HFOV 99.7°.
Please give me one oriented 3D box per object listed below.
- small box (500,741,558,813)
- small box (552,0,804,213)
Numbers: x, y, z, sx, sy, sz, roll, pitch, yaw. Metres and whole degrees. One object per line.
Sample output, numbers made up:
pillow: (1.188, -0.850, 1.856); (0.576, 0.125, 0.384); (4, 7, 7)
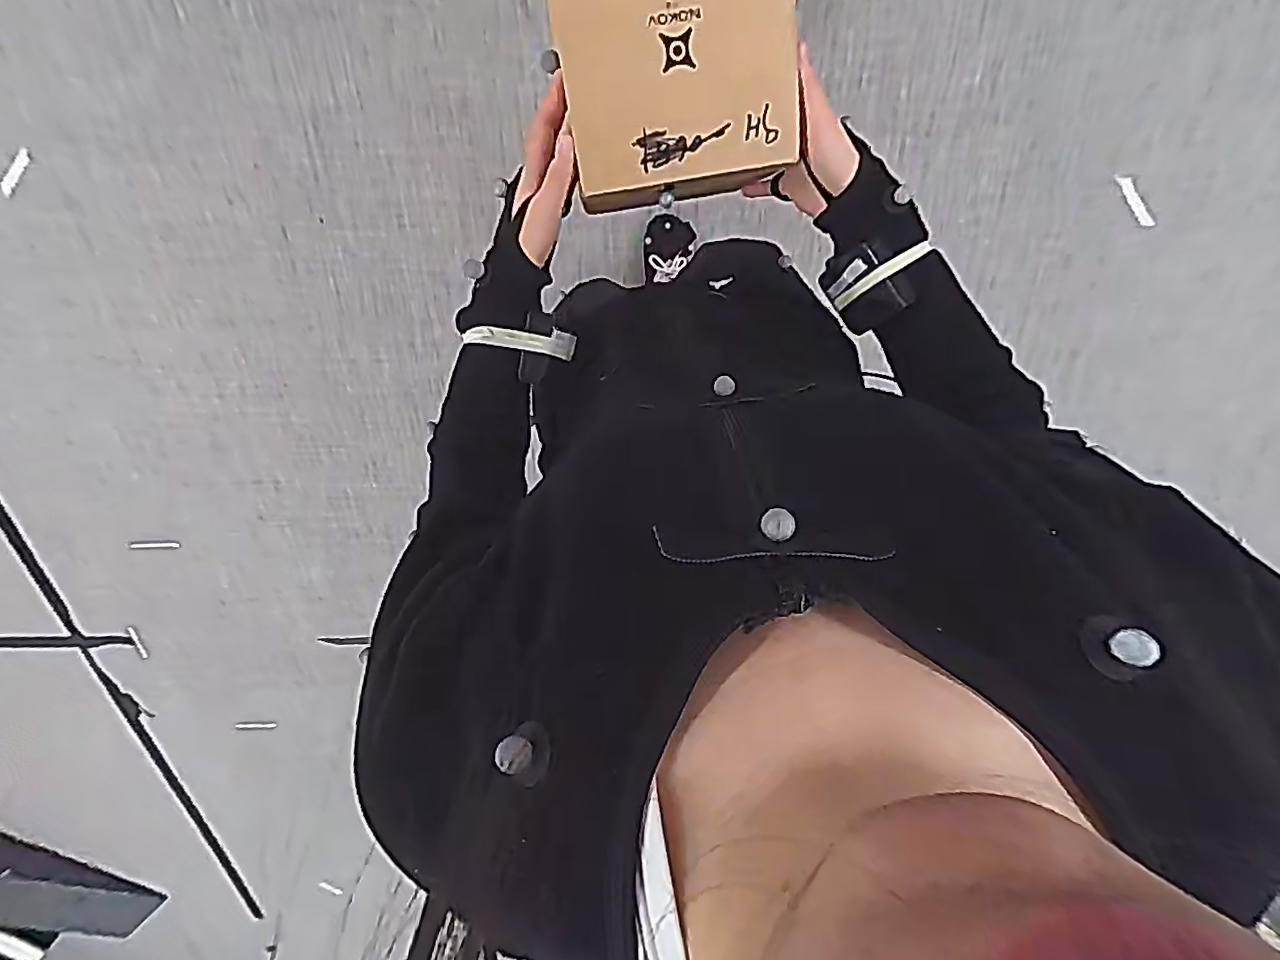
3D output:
small box: (-0.422, 1.131, 2.067); (0.179, 0.176, 0.168); (13, 115, -8)
small box: (0.021, -0.330, 0.438); (0.168, 0.176, 0.179); (-10, 112, -1)
